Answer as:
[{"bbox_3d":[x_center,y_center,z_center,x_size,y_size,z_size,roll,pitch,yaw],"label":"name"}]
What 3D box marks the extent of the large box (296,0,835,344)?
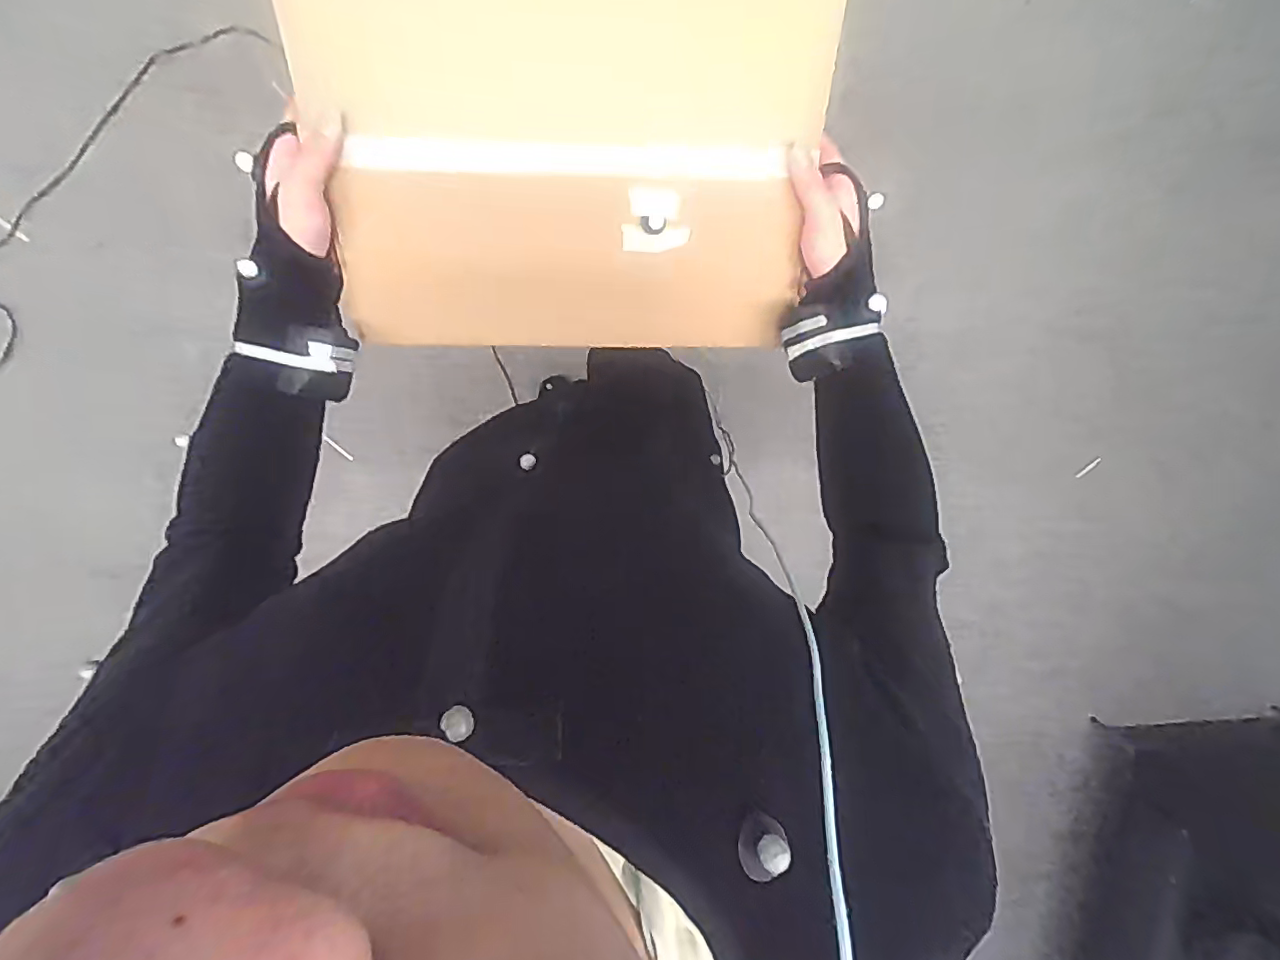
[{"bbox_3d":[-0.063,-0.344,0.577,0.408,0.320,0.320,-1,122,-5],"label":"large box"}]
